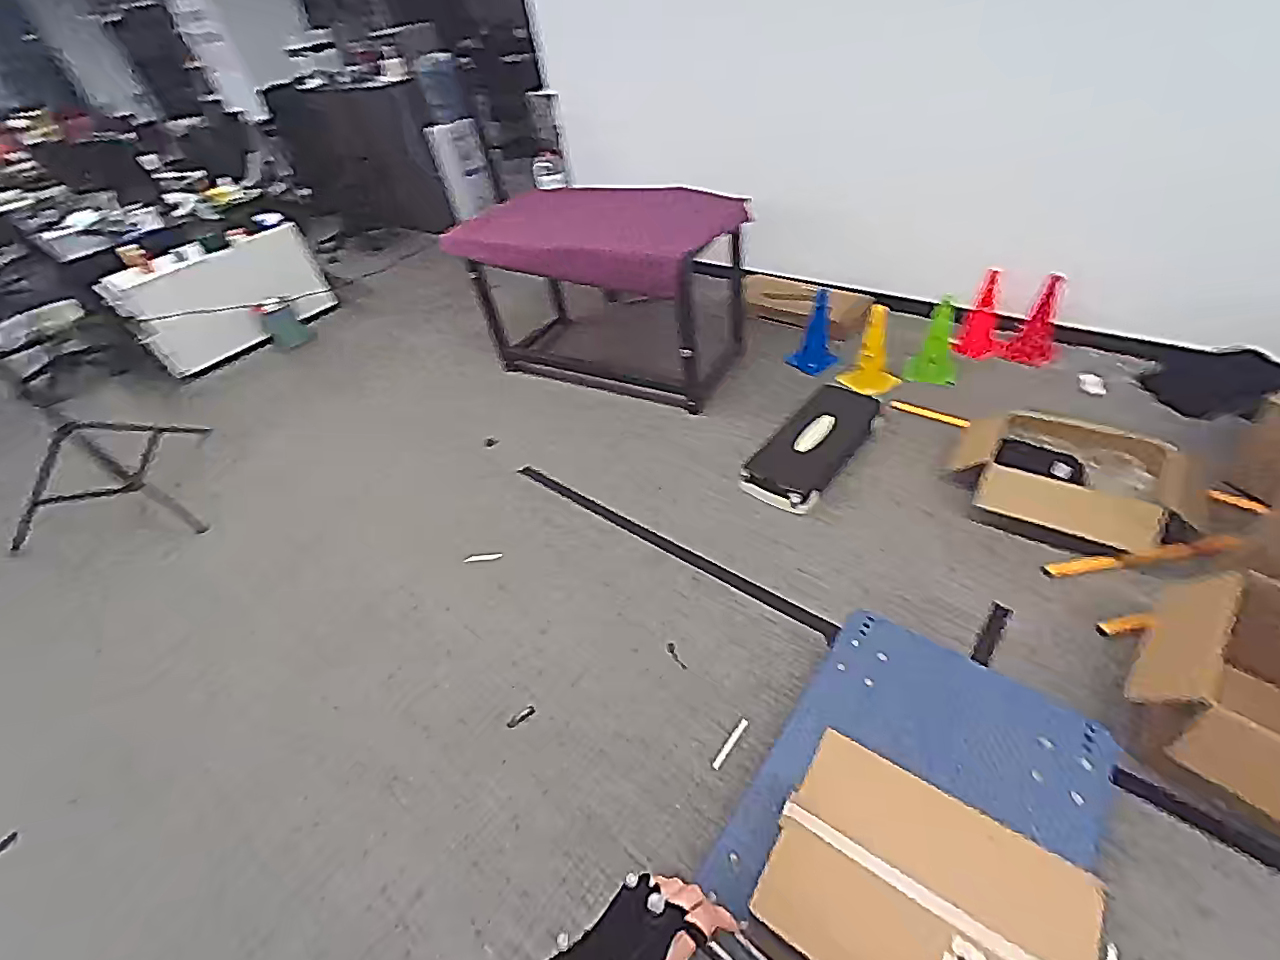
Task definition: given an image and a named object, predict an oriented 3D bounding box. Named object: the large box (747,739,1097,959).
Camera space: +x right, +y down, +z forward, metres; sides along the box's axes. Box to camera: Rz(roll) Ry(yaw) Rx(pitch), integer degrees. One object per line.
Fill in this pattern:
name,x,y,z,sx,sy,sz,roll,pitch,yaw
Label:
large box,0.425,0.720,0.889,0.408,0.320,0.320,22,52,29
